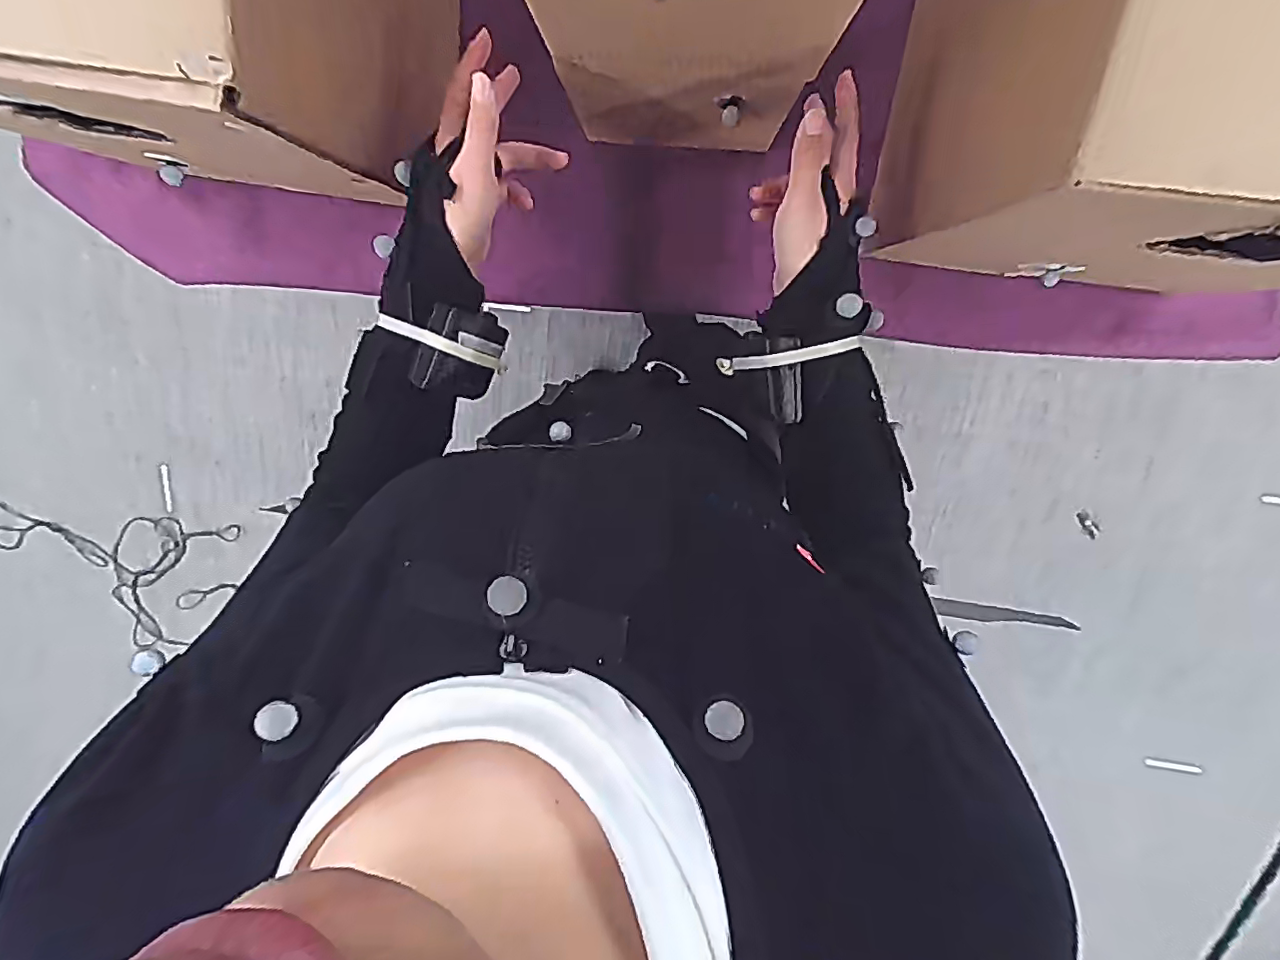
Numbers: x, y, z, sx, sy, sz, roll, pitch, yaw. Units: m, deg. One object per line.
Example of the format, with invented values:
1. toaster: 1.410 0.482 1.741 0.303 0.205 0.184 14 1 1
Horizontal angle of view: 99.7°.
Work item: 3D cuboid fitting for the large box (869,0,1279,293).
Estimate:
1. large box: 0.378 -0.343 0.328 0.320 0.320 0.408 7 106 1
